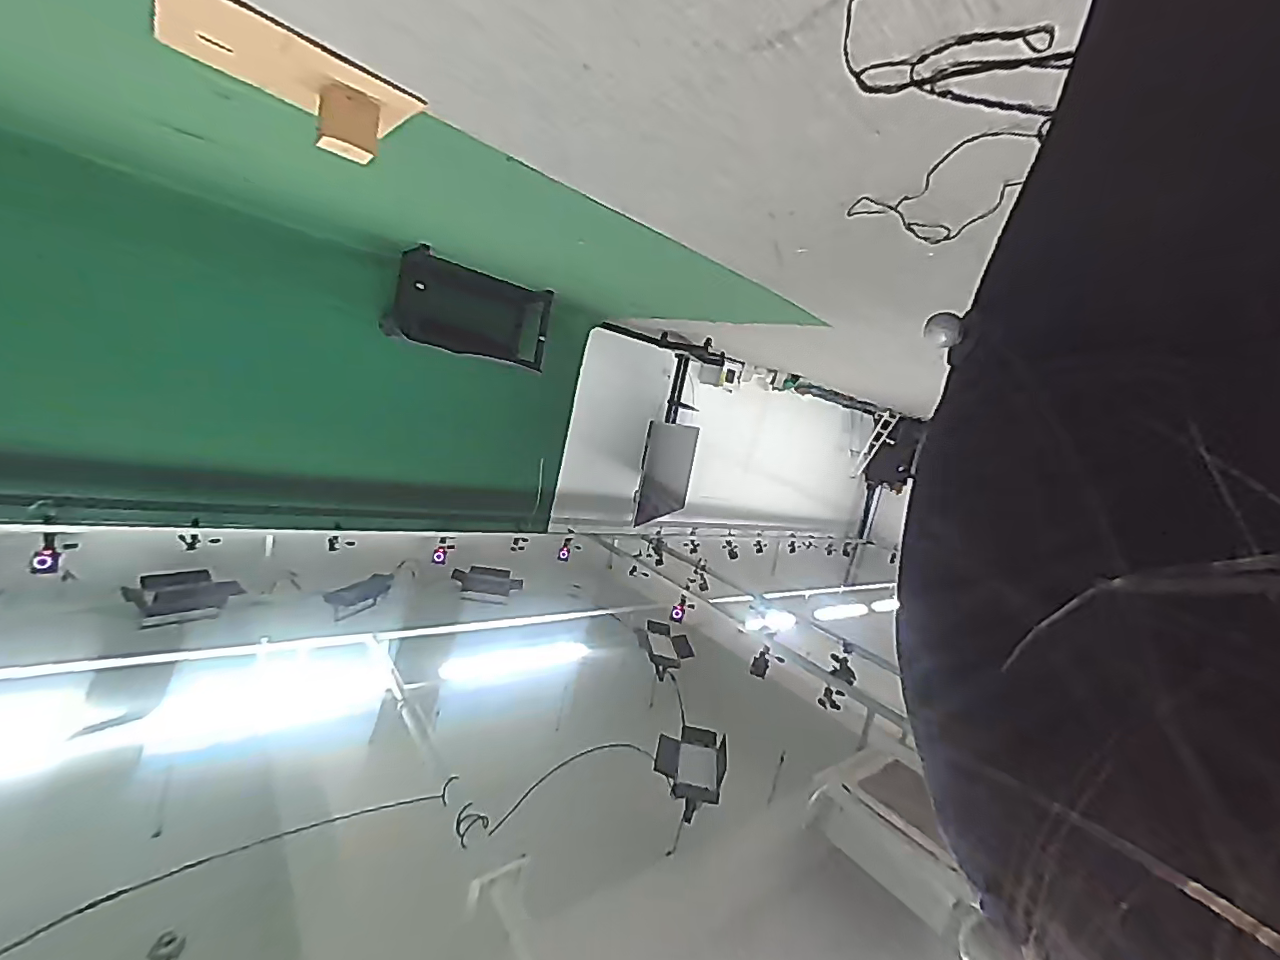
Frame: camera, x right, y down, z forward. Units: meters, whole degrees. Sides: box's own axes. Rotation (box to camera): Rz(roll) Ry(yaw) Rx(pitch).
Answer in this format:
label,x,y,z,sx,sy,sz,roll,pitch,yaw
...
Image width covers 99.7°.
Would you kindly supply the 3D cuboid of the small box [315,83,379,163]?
label,x,y,z,sx,sy,sz,roll,pitch,yaw
small box,-1.059,-1.287,1.956,0.168,0.176,0.179,4,-168,-41
